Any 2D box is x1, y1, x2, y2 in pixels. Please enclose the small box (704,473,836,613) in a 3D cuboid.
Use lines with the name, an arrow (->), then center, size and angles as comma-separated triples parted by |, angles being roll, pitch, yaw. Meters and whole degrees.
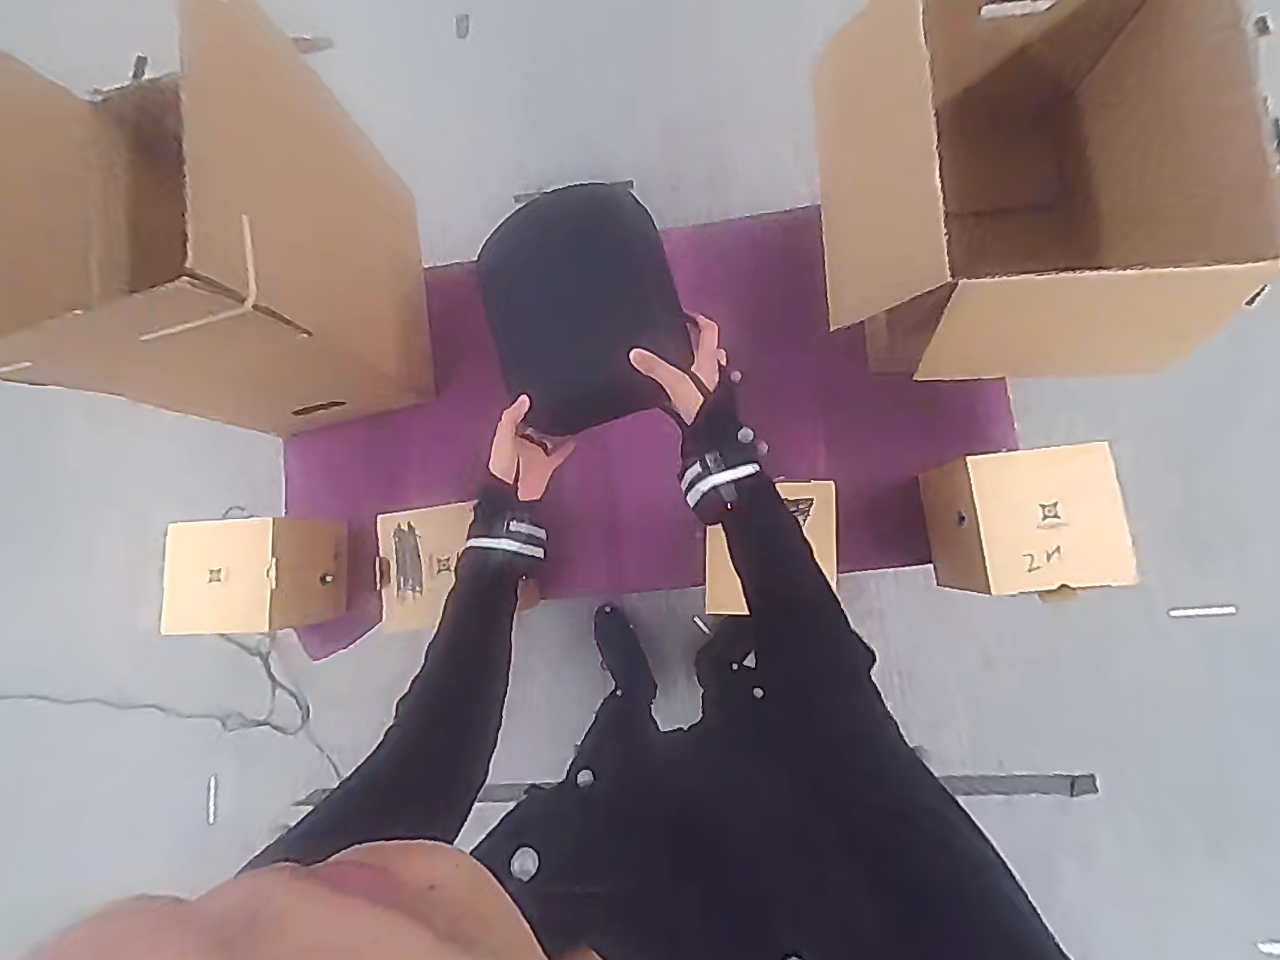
small box -> 0.178, 0.088, 0.777 | 0.168, 0.176, 0.179 | 1, 85, 8

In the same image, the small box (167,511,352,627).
small box -> -0.599, 0.141, 0.869 | 0.179, 0.176, 0.168 | -4, 83, 6

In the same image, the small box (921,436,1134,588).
small box -> 0.506, 0.049, 0.737 | 0.168, 0.176, 0.179 | -6, 83, 8
